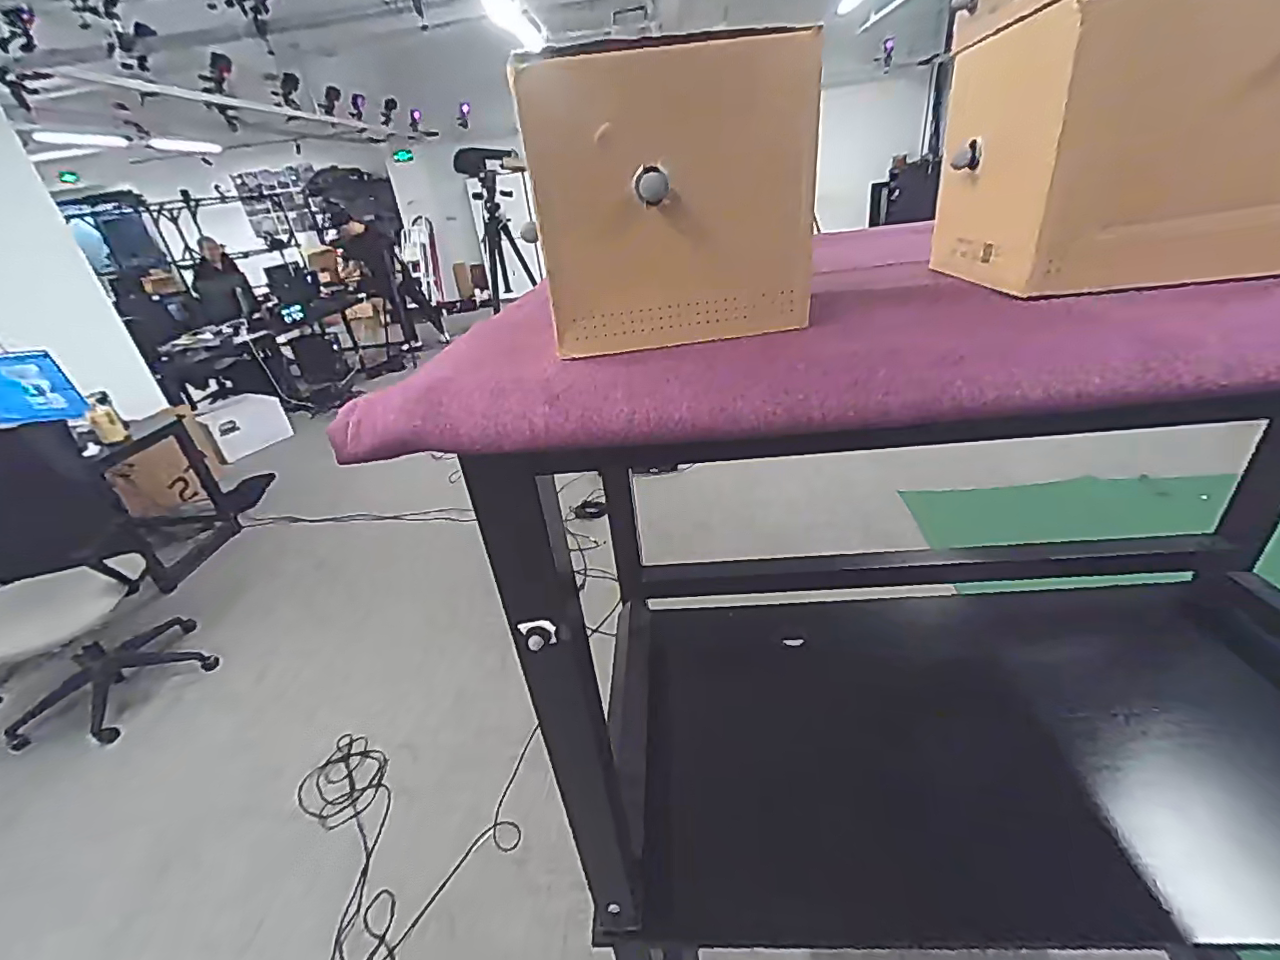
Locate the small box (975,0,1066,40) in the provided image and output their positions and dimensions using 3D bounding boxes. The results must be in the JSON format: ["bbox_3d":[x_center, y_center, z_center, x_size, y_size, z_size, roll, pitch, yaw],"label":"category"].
[{"bbox_3d":[0.328,-0.383,0.320,0.179,0.176,0.168,-2,28,6],"label":"small box"}]

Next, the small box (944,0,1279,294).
[{"bbox_3d":[0.344,-0.237,0.392,0.179,0.176,0.168,-3,28,7],"label":"small box"}]

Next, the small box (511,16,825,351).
[{"bbox_3d":[0.018,-0.201,0.395,0.179,0.176,0.168,-9,30,-2],"label":"small box"}]
